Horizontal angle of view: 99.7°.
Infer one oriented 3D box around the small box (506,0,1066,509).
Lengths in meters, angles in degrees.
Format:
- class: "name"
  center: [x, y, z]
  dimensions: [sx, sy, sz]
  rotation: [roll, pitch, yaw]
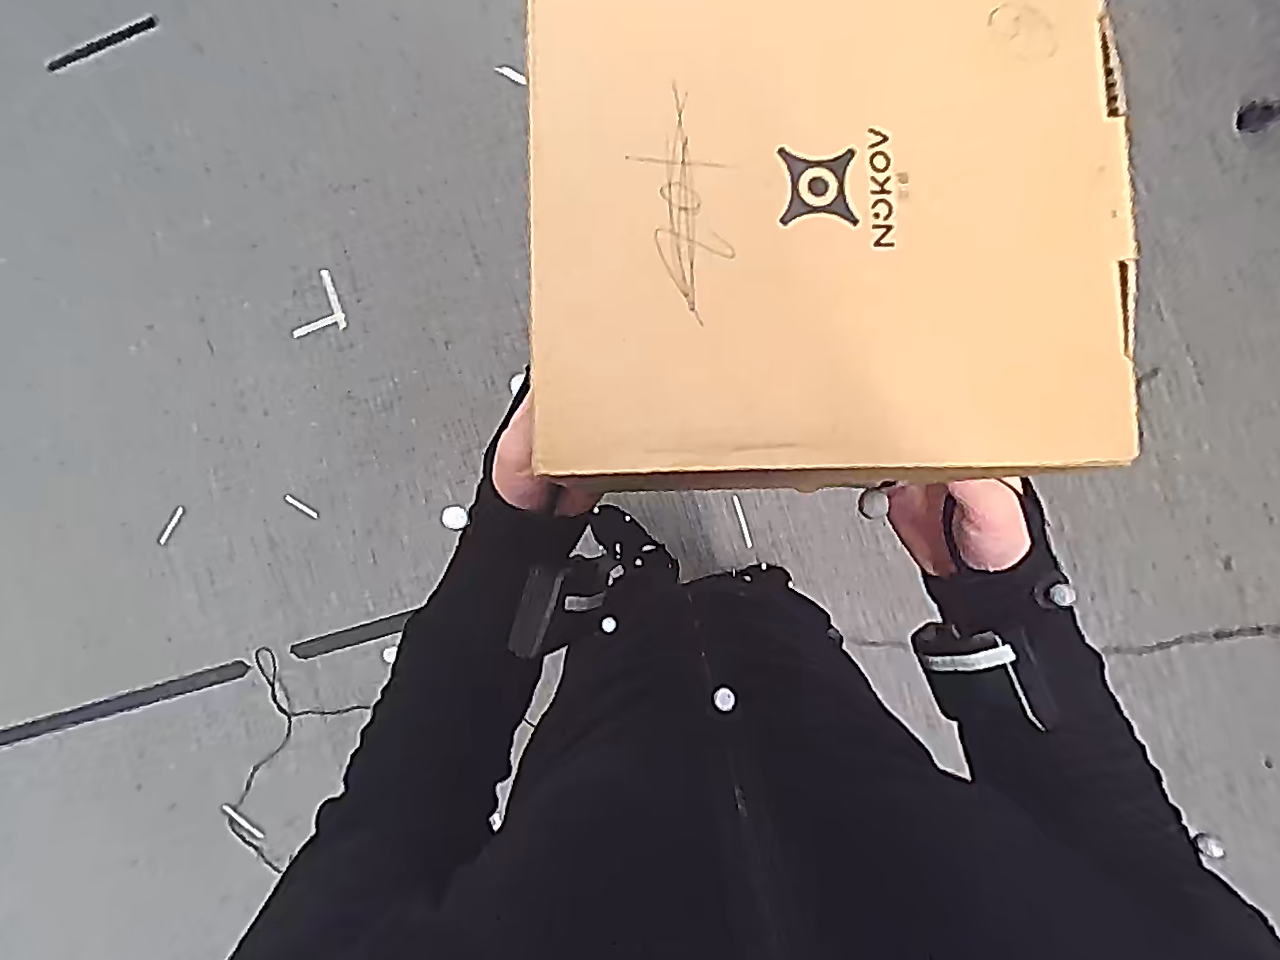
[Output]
- class: "small box"
  center: [0.043, -0.071, 0.251]
  dimensions: [0.179, 0.176, 0.168]
  rotation: [-2, 86, -1]
